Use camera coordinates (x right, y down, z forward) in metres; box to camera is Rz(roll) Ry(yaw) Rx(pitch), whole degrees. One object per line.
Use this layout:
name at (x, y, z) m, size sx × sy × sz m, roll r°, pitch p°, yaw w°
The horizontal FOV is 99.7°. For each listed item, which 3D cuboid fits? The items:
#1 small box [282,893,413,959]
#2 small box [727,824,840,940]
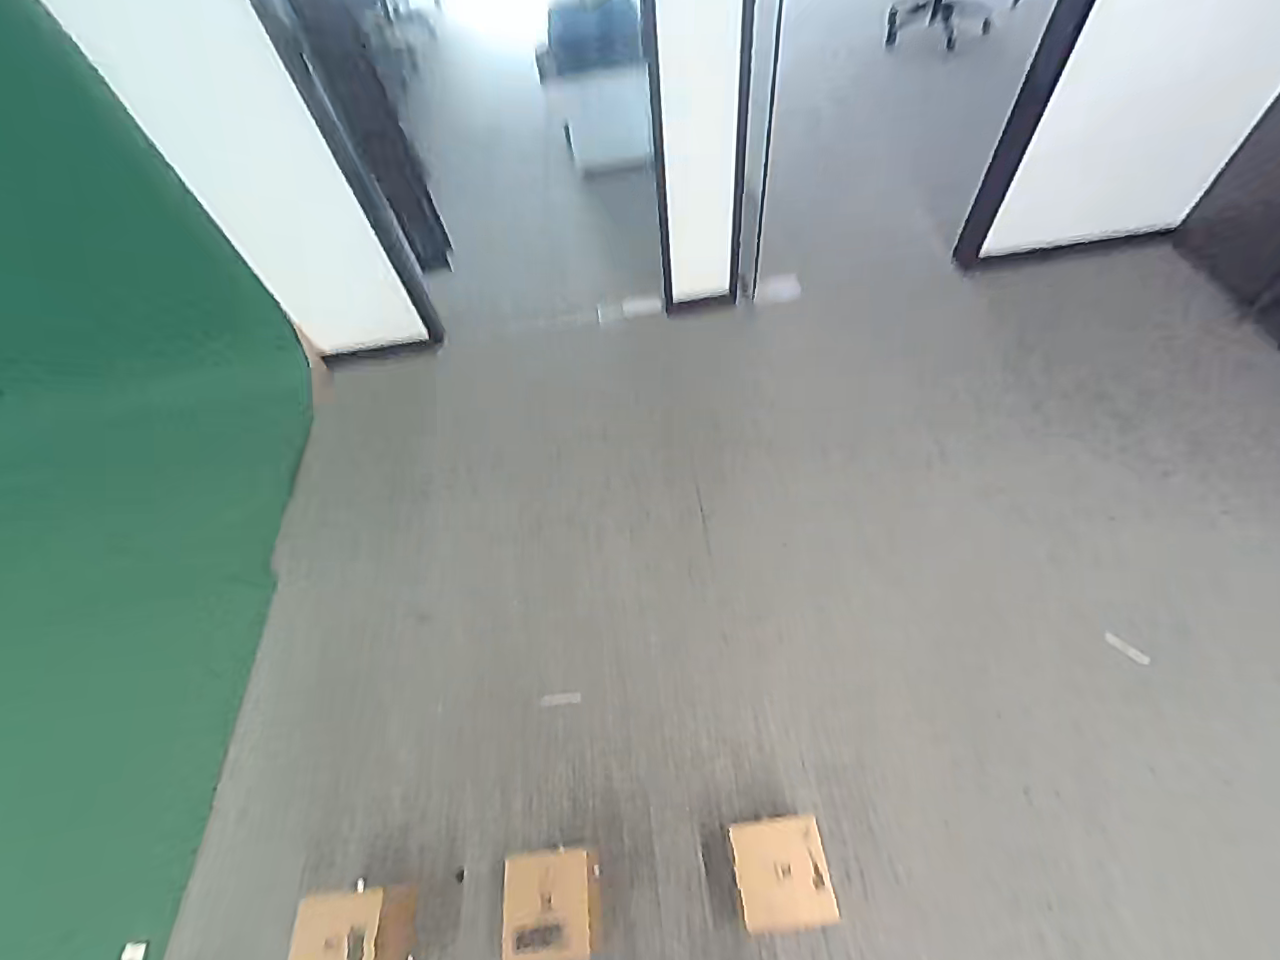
small box at (-0.574, 0.931, 1.069) m, size 0.179 × 0.176 × 0.168 m, roll -8°, pitch 54°, yaw 2°
small box at (0.273, 0.793, 1.073) m, size 0.179 × 0.176 × 0.168 m, roll -8°, pitch 55°, yaw 1°
